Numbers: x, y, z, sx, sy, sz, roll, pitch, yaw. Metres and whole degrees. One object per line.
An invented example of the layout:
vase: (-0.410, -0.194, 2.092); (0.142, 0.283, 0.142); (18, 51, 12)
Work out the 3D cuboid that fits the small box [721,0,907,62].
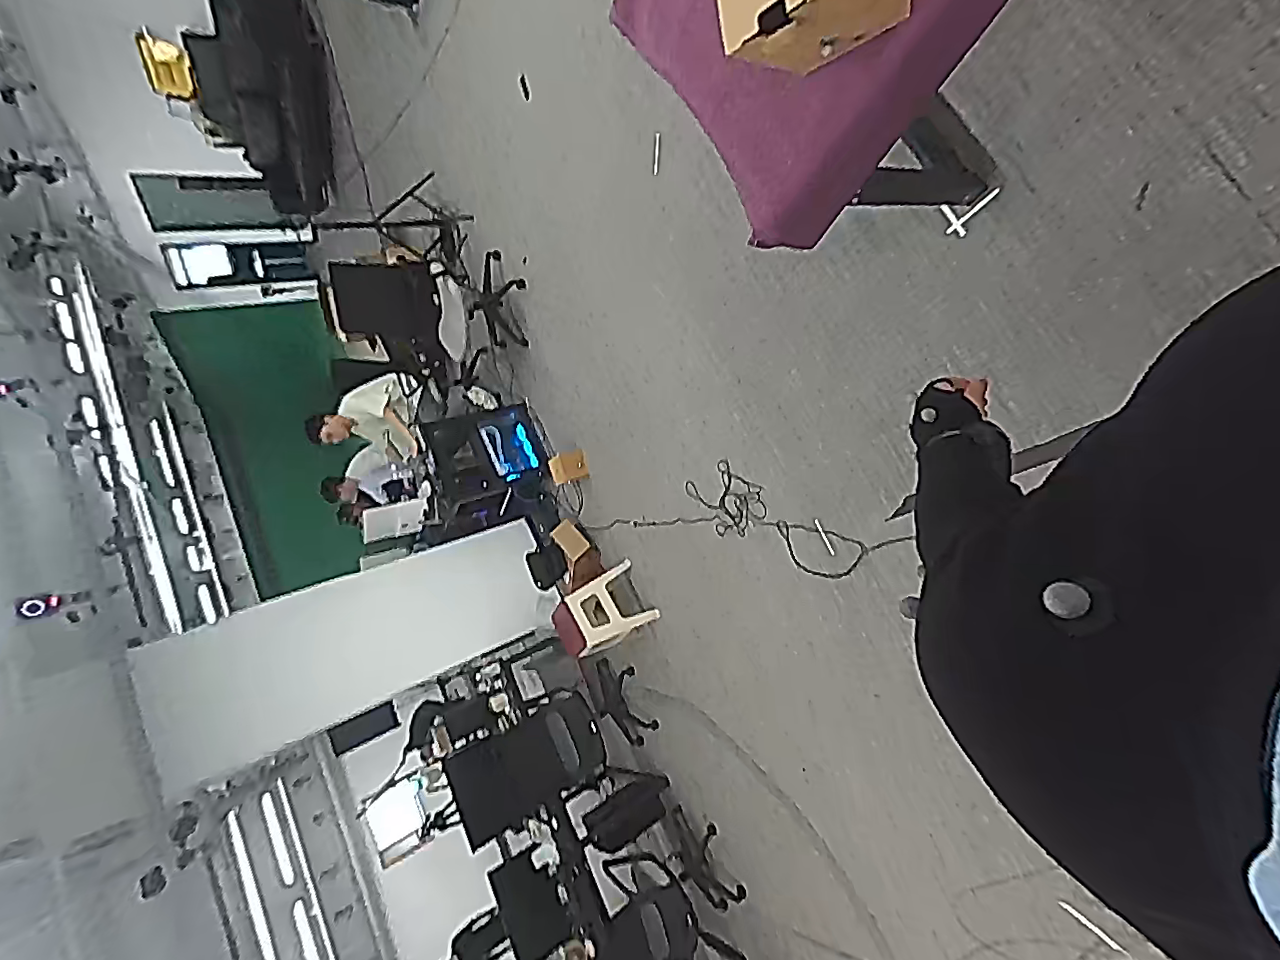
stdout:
small box: (0.217, -0.665, 0.674); (0.168, 0.176, 0.179); (16, 119, 54)
